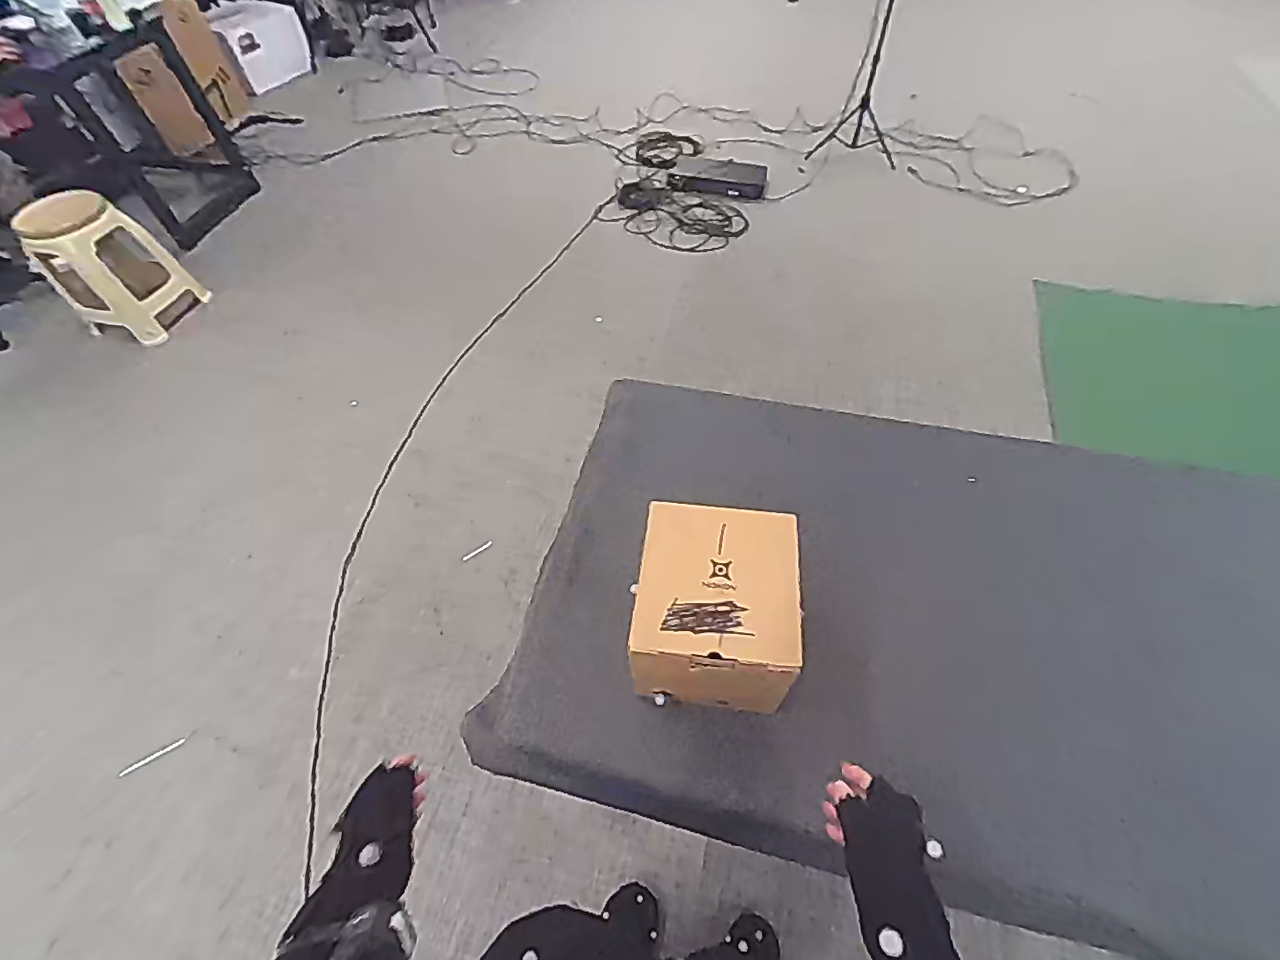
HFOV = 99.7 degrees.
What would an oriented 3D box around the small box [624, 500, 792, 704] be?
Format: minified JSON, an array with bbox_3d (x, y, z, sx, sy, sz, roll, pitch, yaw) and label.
[{"bbox_3d":[0.080,0.147,0.632,0.168,0.176,0.179,6,54,6],"label":"small box"}]
